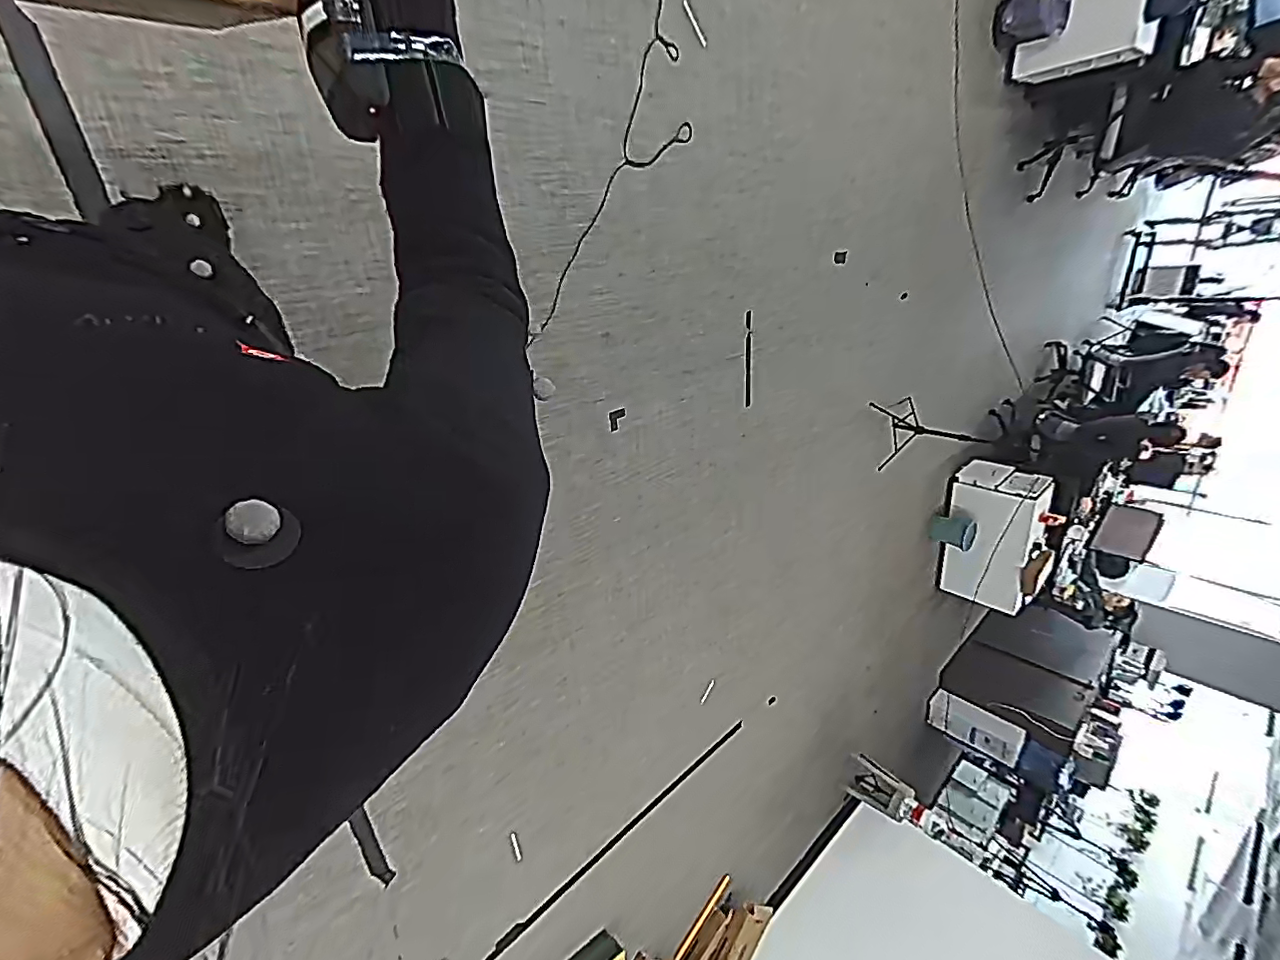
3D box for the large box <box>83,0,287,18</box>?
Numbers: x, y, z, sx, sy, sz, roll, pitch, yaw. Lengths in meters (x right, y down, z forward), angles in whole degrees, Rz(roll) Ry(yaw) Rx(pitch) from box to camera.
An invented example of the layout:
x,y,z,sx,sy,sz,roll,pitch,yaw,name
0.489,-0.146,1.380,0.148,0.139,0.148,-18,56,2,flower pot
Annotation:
x,y,z,sx,sy,sz,roll,pitch,yaw,name
-0.444,-0.429,0.224,0.408,0.320,0.320,-22,134,-36,large box
